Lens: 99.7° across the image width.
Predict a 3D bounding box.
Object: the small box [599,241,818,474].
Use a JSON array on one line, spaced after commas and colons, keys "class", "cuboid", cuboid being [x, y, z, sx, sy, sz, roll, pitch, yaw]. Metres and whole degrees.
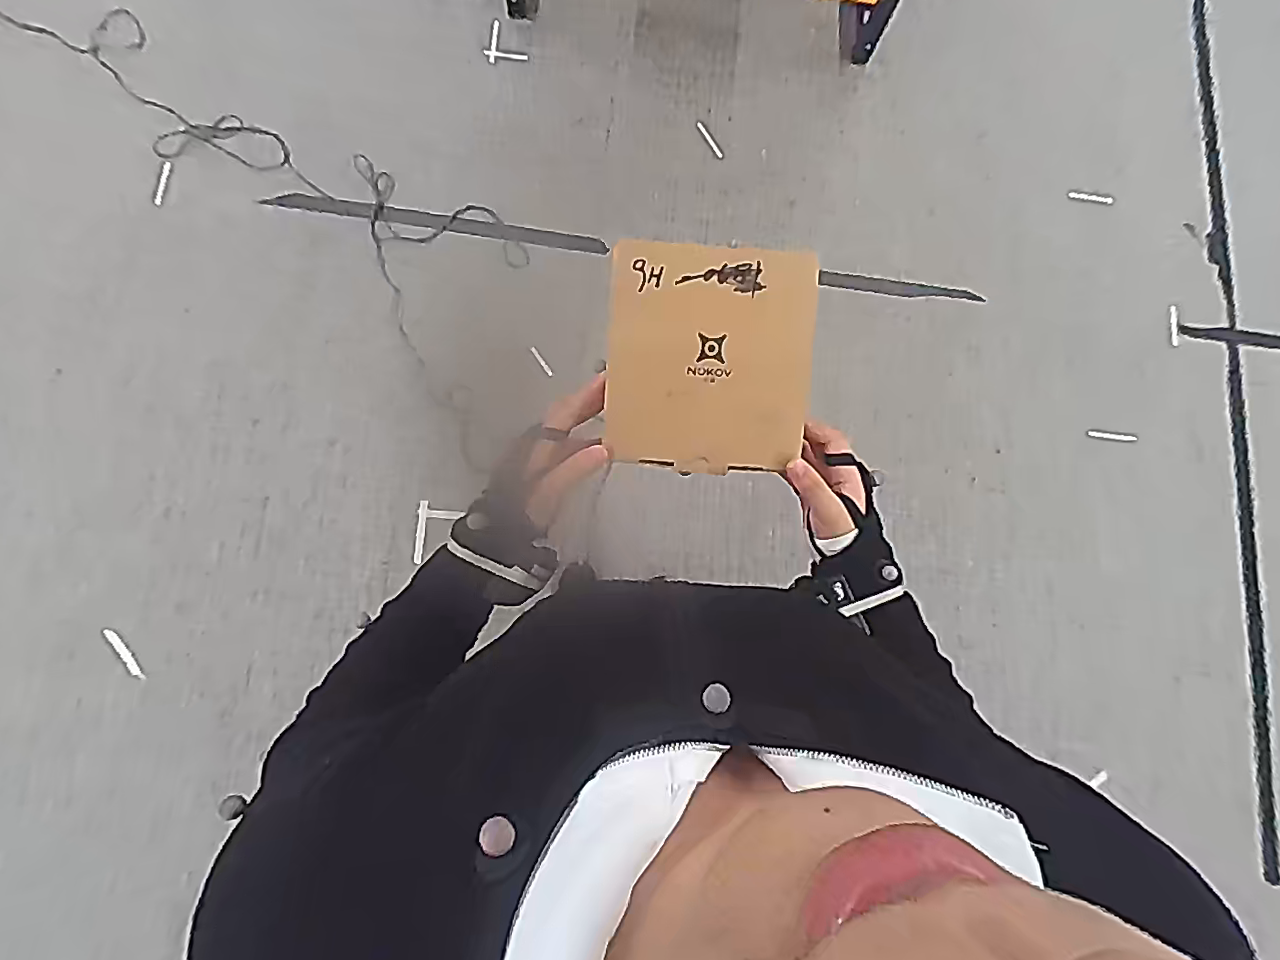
[{"class": "small box", "cuboid": [0.051, -0.107, 0.514, 0.168, 0.176, 0.179, 3, 98, -3]}]
